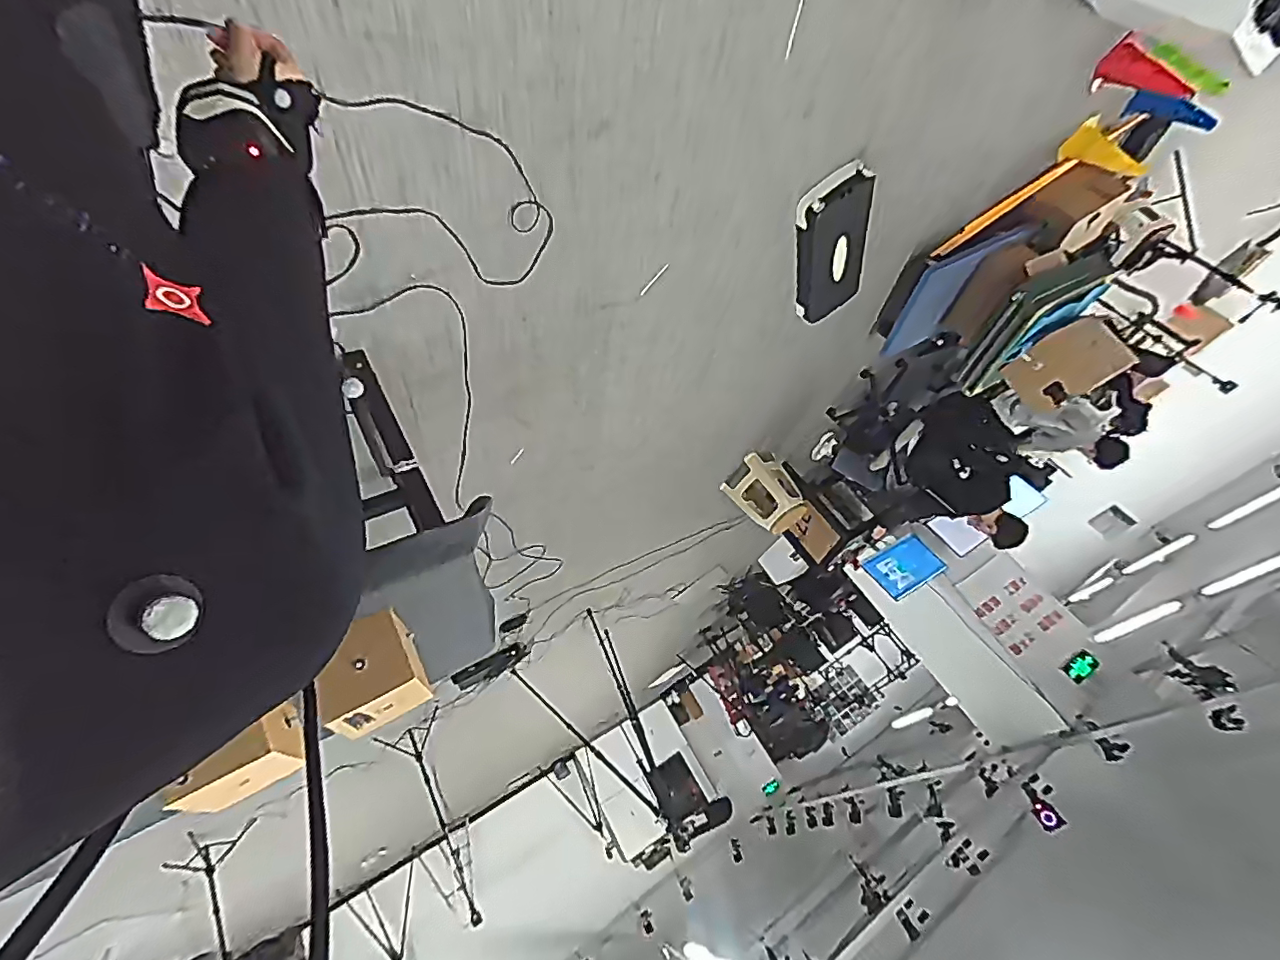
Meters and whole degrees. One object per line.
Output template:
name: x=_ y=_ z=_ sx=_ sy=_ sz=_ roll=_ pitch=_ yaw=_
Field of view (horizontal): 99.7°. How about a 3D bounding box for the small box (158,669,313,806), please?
small box: x=-0.777 y=0.494 z=1.045 sx=0.179 sy=0.176 sz=0.168 roll=-25 pitch=152 yaw=-20
